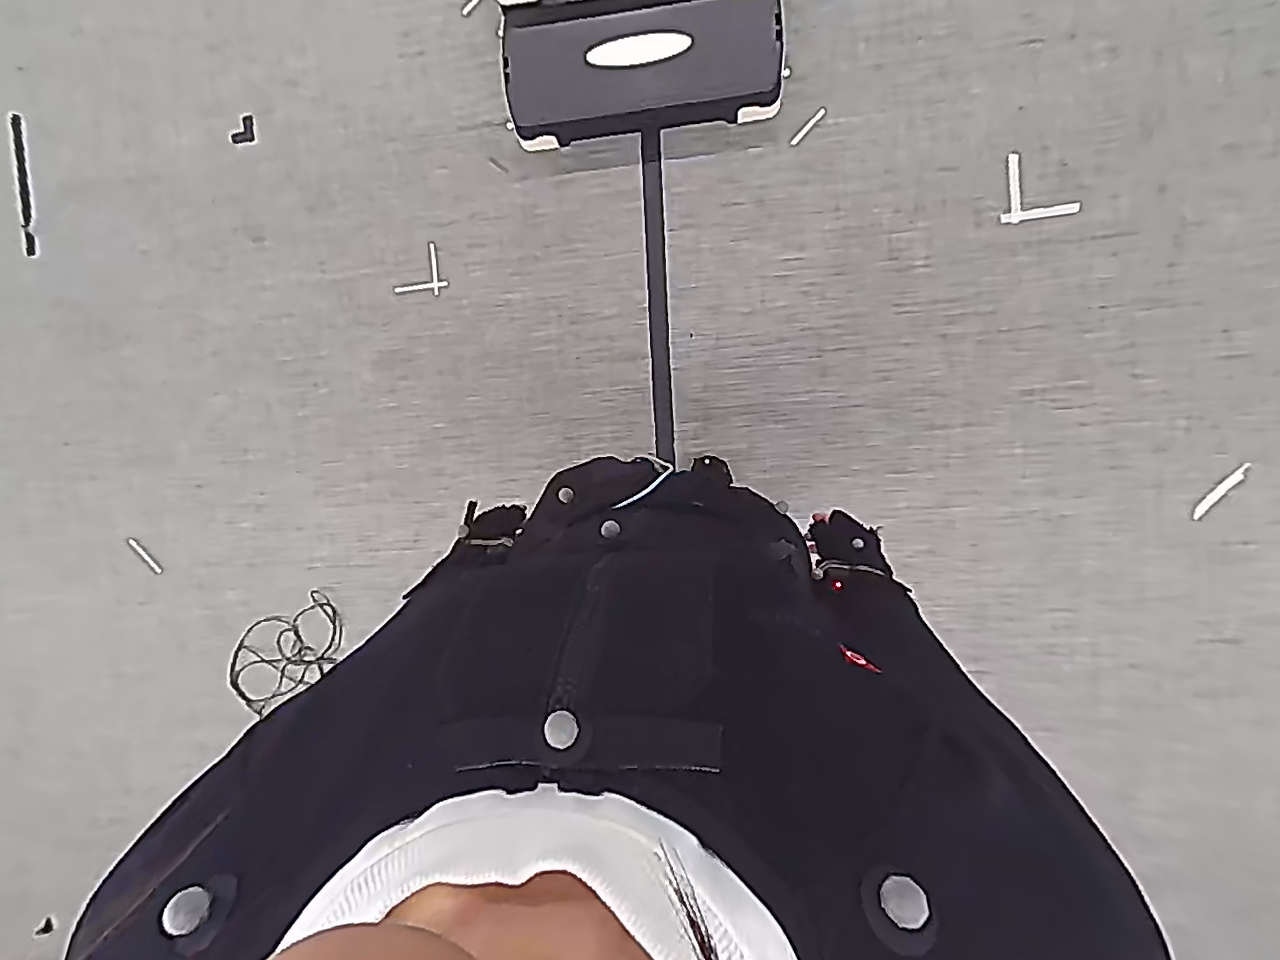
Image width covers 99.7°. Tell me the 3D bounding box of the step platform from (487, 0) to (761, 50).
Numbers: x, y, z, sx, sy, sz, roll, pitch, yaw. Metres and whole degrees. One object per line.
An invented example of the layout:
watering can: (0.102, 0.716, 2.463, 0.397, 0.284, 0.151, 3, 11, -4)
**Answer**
step platform: (-0.042, -1.262, 1.256, 0.684, 0.204, 0.286, -5, 95, 6)
